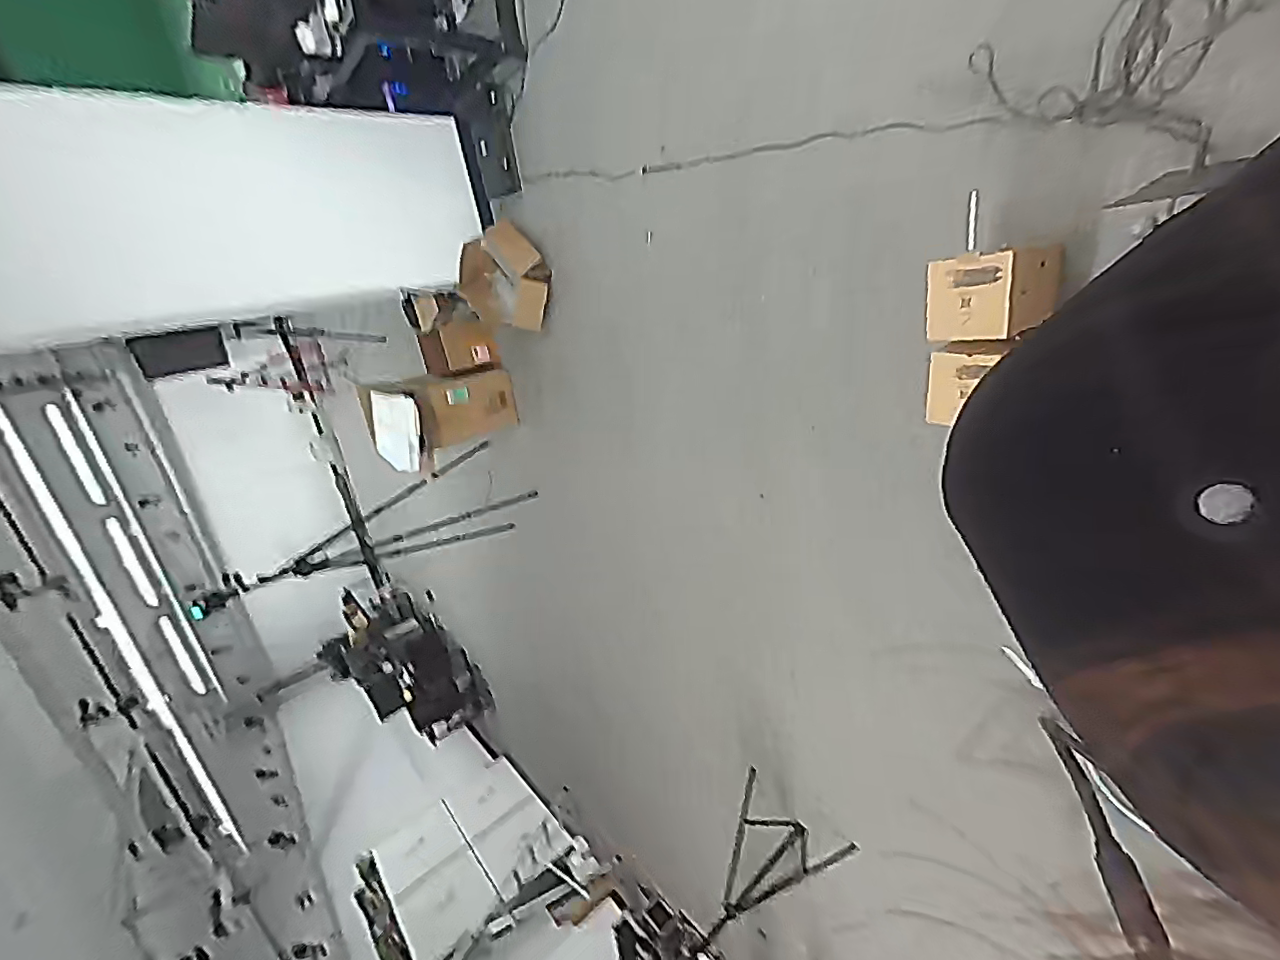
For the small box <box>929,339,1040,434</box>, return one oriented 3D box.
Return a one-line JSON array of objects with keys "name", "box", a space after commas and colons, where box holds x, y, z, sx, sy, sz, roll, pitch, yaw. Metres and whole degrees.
[{"name": "small box", "box": [0.809, -0.227, 1.269, 0.168, 0.176, 0.179, 21, 128, 47]}]
